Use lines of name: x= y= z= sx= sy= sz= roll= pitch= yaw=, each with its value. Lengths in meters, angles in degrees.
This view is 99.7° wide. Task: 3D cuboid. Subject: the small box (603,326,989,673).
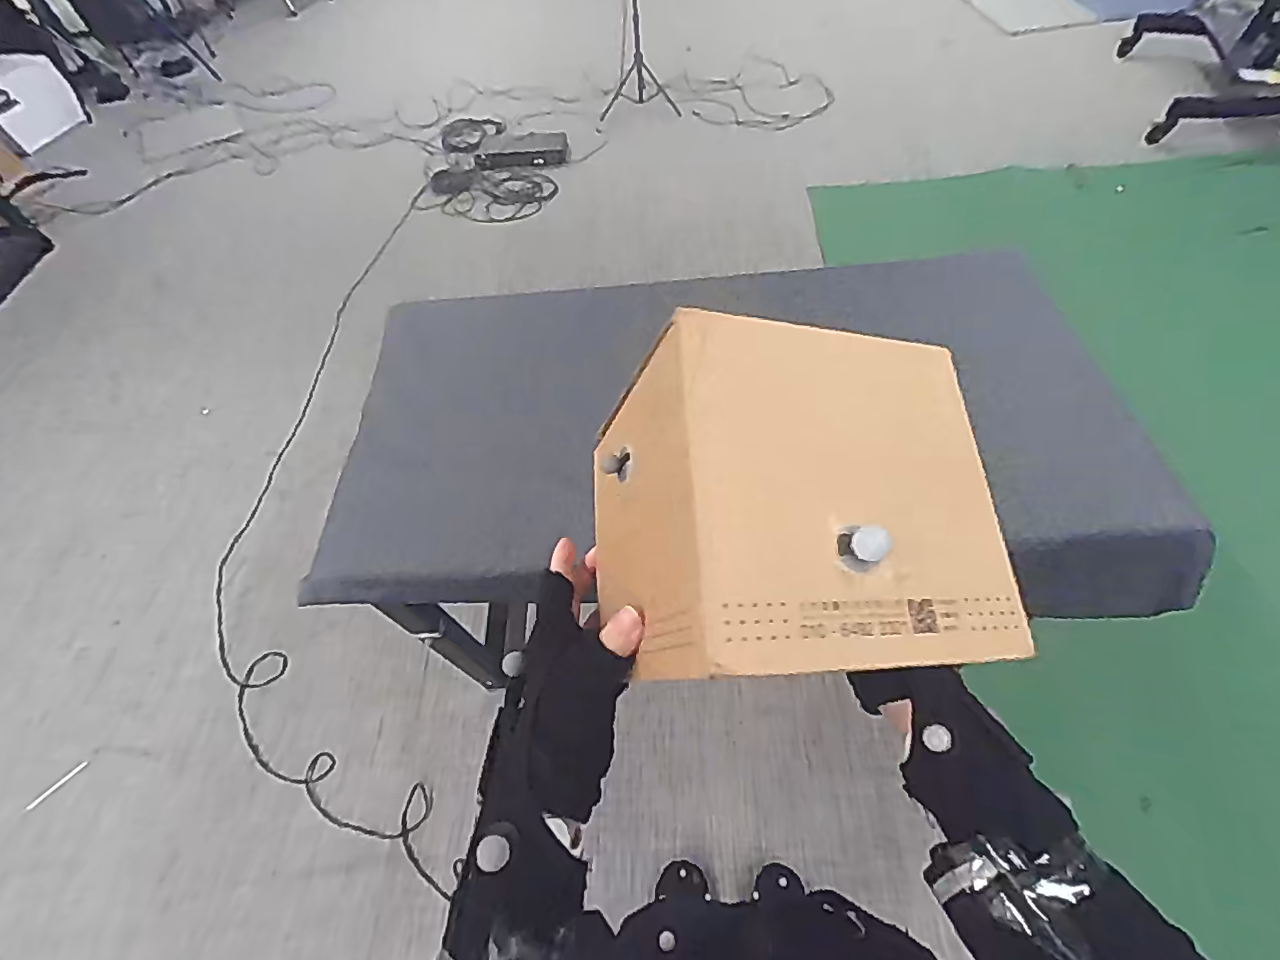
small box: x=0.072 y=0.031 z=0.344 sx=0.168 sy=0.179 sz=0.176 roll=2 pitch=70 yaw=-16
